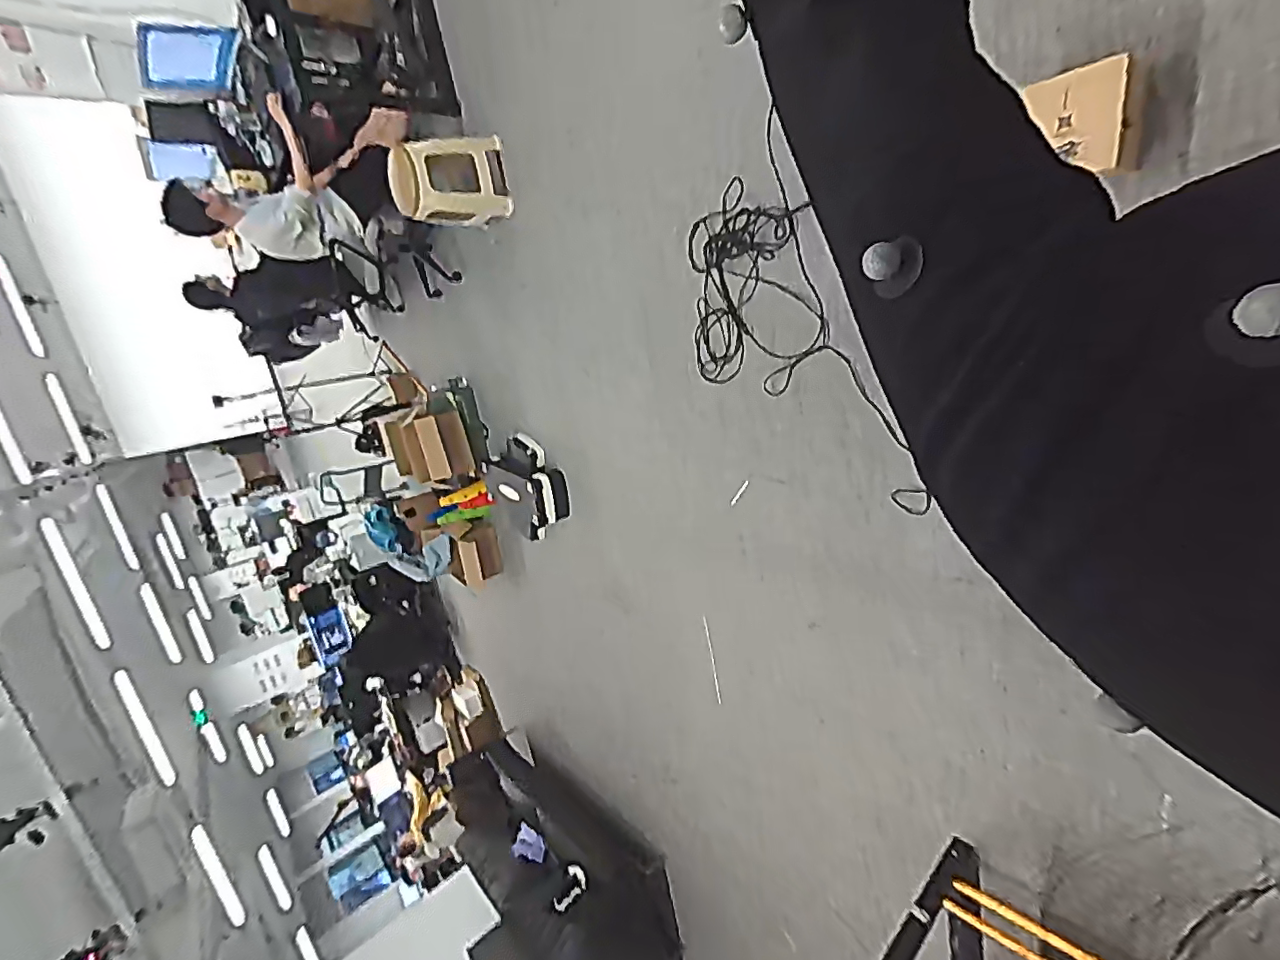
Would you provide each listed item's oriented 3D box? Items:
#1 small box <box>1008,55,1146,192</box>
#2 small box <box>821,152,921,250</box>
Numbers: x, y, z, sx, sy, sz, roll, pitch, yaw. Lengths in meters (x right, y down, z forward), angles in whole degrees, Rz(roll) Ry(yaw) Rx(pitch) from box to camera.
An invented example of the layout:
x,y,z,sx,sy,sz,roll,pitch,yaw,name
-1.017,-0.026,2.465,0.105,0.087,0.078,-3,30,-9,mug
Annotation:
x,y,z,sx,sy,sz,roll,pitch,yaw,name
0.826,-0.661,1.025,0.168,0.176,0.179,13,117,49,small box
0.574,-0.682,1.338,0.168,0.176,0.179,6,112,51,small box
